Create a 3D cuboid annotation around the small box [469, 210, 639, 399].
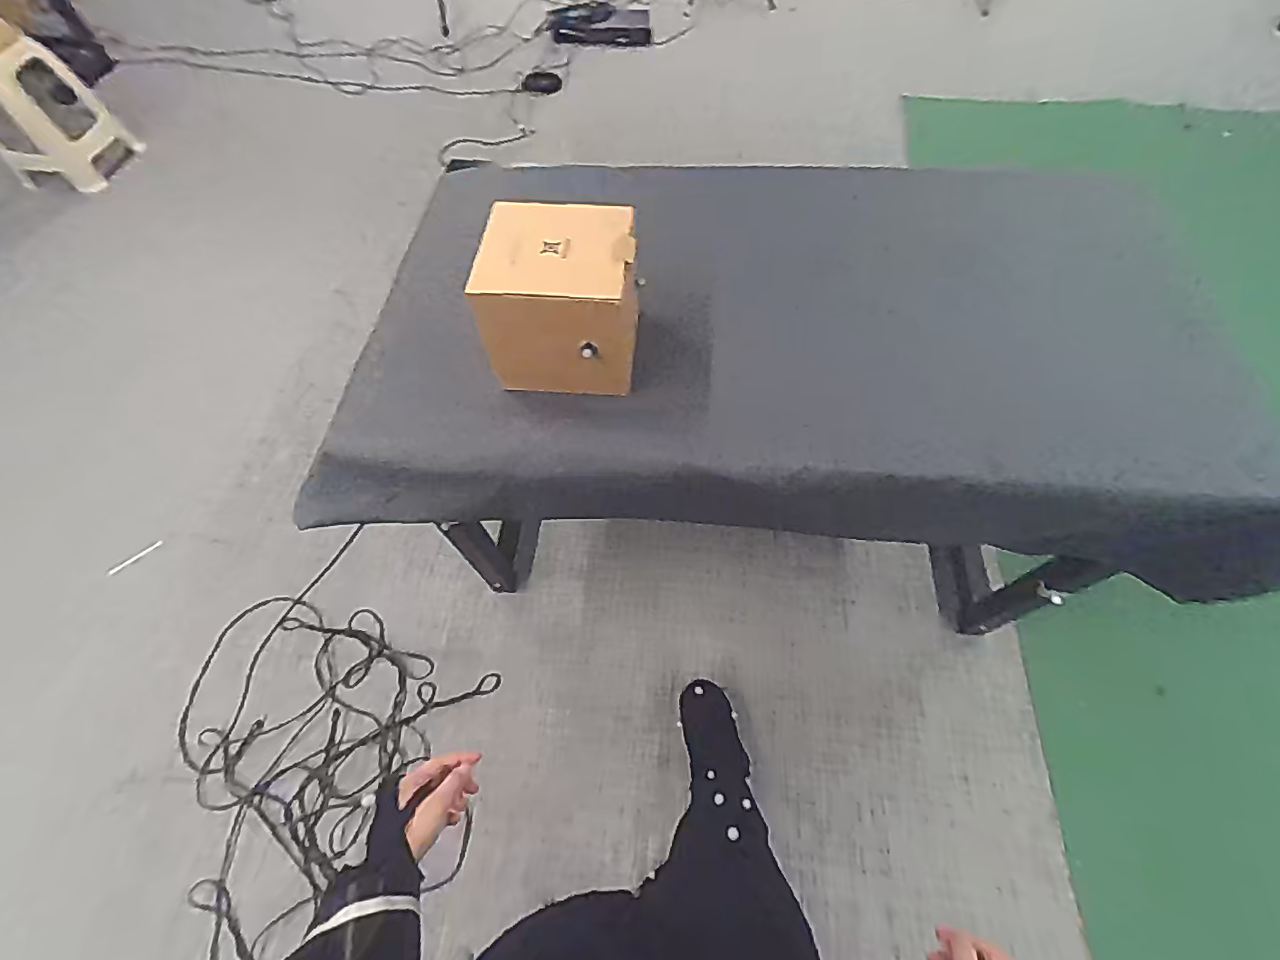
[{"bbox_3d":[-0.094,-0.219,0.696,0.179,0.176,0.168,3,59,4],"label":"small box"}]
